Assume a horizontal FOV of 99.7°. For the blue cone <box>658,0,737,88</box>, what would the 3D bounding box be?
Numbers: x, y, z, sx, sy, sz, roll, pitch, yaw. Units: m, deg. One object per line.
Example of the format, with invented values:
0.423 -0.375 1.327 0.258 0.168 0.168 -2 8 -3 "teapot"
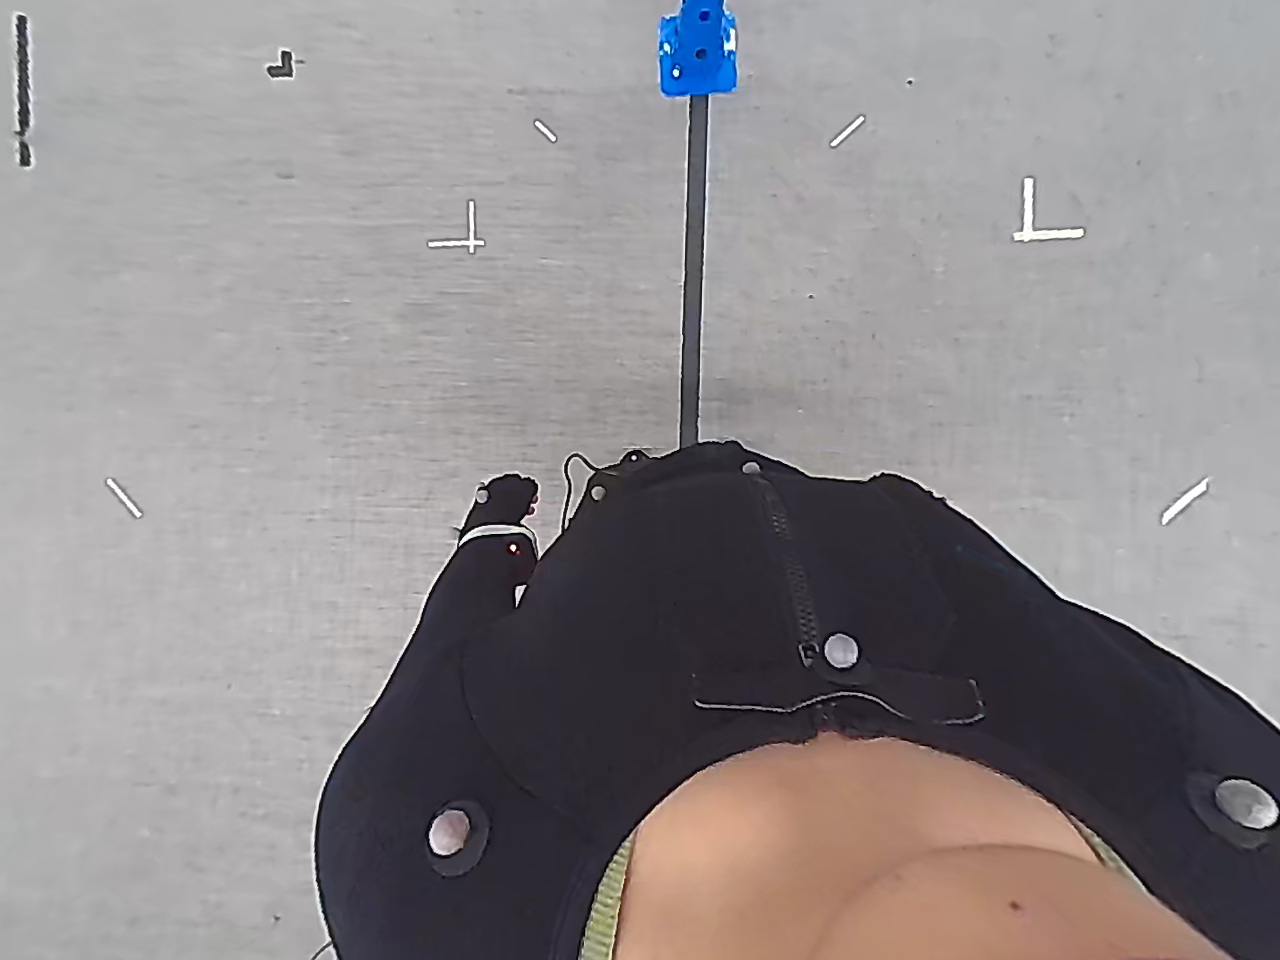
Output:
0.144 -1.094 1.217 0.192 0.380 0.193 -4 95 2 "blue cone"
